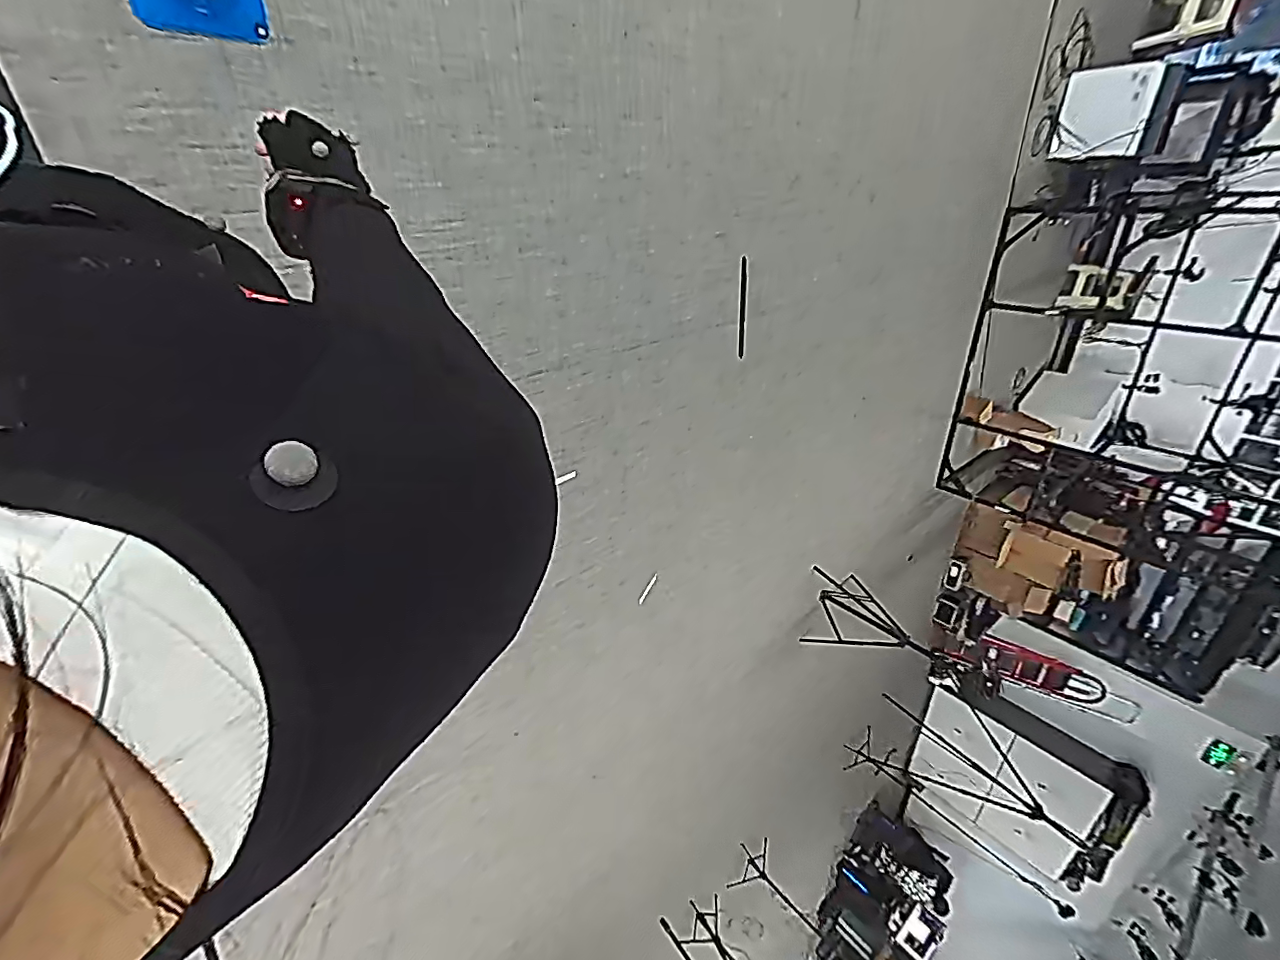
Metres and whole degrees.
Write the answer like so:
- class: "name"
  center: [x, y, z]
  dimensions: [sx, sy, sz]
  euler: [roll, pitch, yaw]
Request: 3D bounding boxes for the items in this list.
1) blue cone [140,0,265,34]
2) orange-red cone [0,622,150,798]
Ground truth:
- class: "blue cone"
  center: [-0.667, -0.836, 0.813]
  dimensions: [0.192, 0.380, 0.193]
  euler: [-20, 123, -37]
- class: "orange-red cone"
  center: [-1.103, 0.473, 1.049]
  dimensions: [0.199, 0.360, 0.198]
  euler: [-18, 120, -35]
